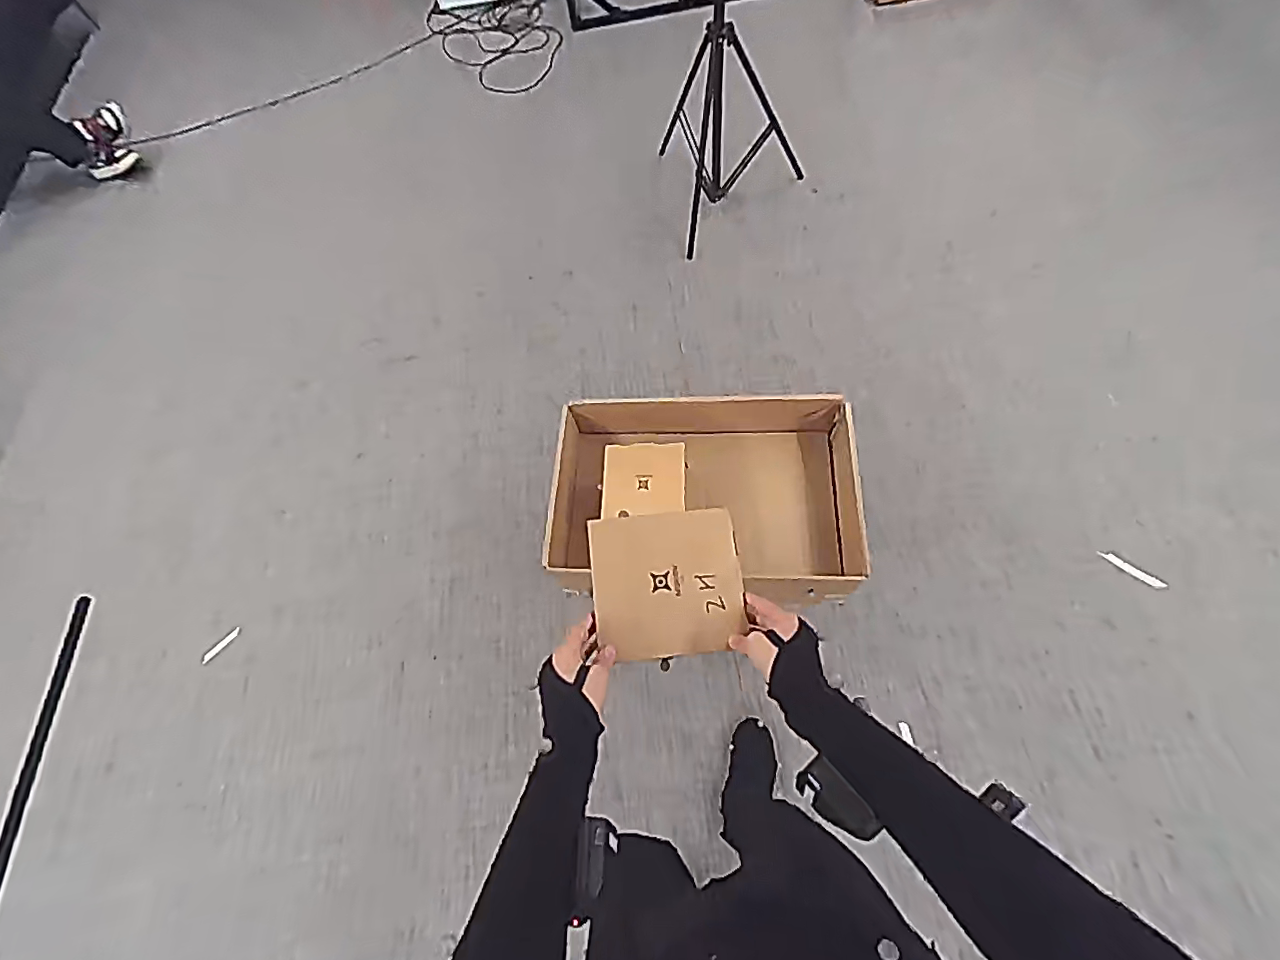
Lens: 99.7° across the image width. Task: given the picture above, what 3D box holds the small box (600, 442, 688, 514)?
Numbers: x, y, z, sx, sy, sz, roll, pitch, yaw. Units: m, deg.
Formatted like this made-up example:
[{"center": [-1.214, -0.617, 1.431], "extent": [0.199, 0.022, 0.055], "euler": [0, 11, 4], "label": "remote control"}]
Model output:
[{"center": [0.015, 0.036, 1.136], "extent": [0.168, 0.176, 0.179], "euler": [-1, 65, 7], "label": "small box"}]

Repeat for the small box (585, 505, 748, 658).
[{"center": [0.026, 0.138, 0.696], "extent": [0.179, 0.176, 0.168], "euler": [-4, 73, -4], "label": "small box"}]
